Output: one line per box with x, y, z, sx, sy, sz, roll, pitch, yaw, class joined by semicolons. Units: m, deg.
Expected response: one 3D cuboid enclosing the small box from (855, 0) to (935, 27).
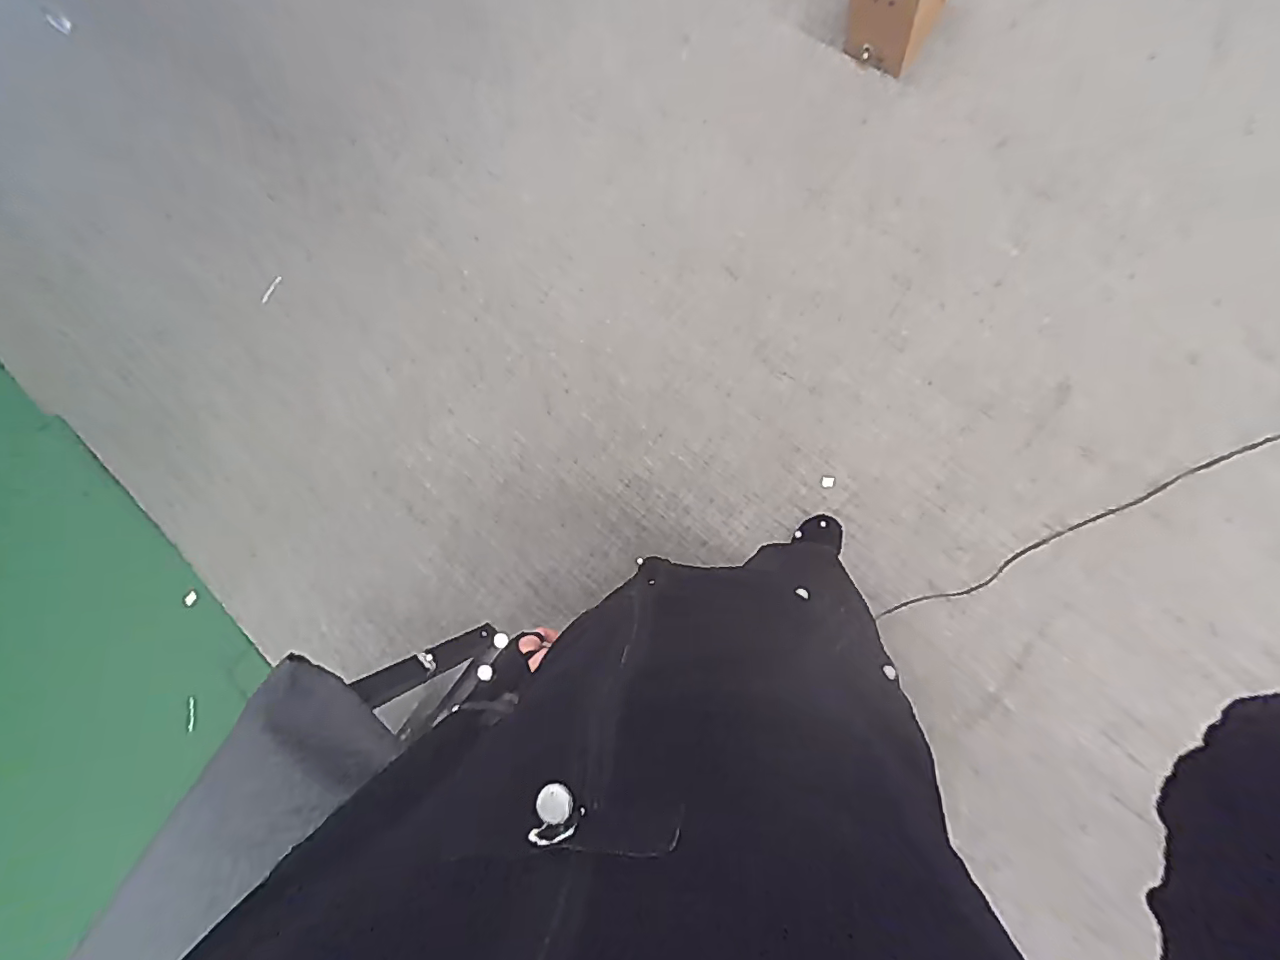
0.555;-1.086;1.088;0.168;0.176;0.179;36;96;13;small box

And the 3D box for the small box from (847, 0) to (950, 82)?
0.599;-1.082;1.246;0.168;0.176;0.179;37;97;13;small box
